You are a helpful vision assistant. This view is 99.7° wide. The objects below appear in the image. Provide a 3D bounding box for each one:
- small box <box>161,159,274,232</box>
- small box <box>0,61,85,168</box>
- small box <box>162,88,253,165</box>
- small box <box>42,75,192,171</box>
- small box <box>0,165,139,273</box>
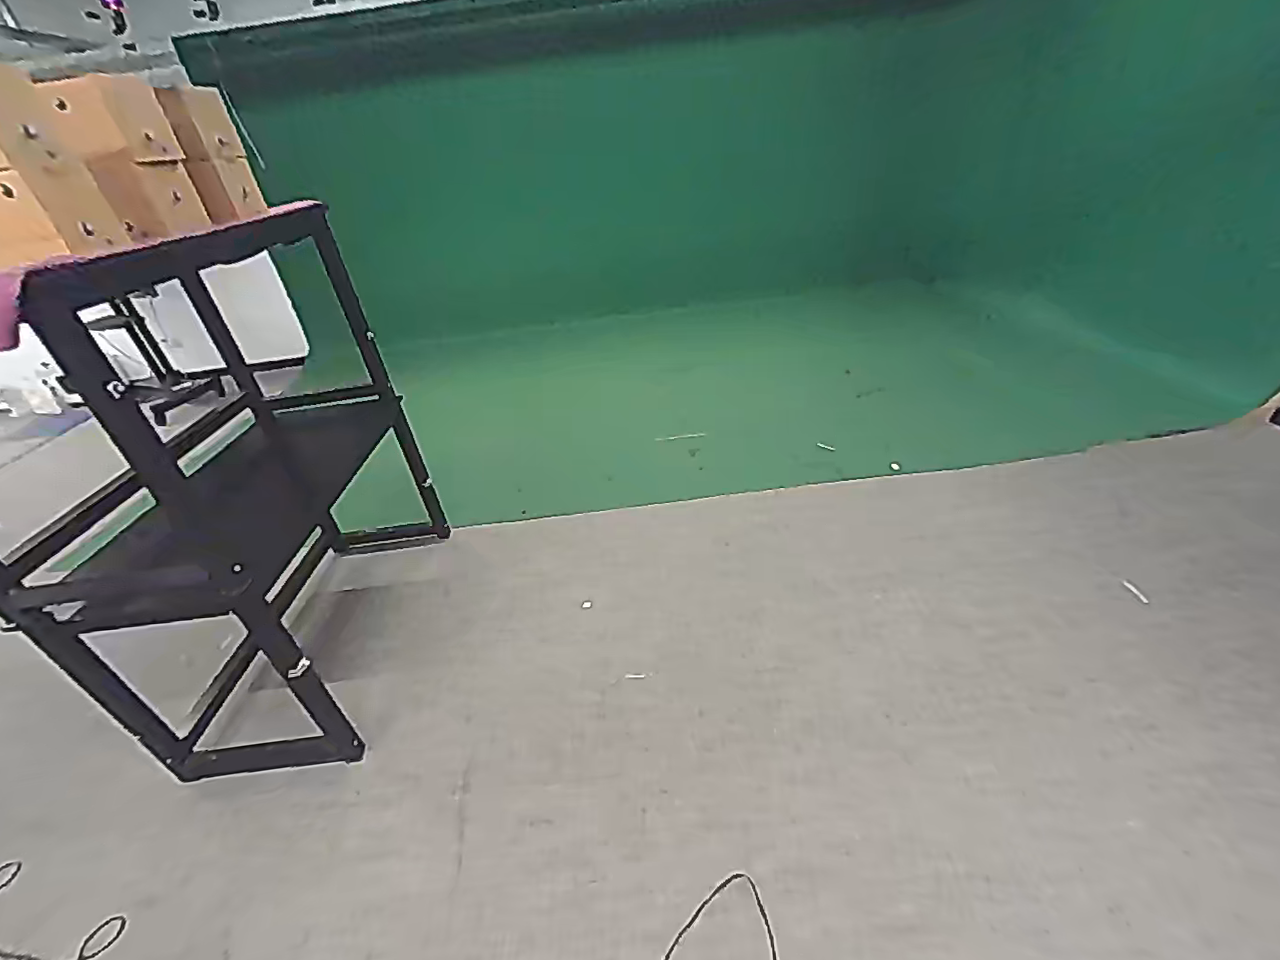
[{"bbox_3d":[-1.239,-0.846,1.605,0.179,0.176,0.168,-6,32,1],"label":"small box"},{"bbox_3d":[-1.218,-0.660,0.998,0.179,0.176,0.168,-10,32,-3],"label":"small box"},{"bbox_3d":[-1.256,-0.988,1.526,0.179,0.176,0.168,-4,34,3],"label":"small box"},{"bbox_3d":[-1.233,-0.835,1.276,0.179,0.176,0.168,-4,33,3],"label":"small box"},{"bbox_3d":[-1.187,-0.522,1.083,0.179,0.176,0.168,-10,32,-2],"label":"small box"}]
